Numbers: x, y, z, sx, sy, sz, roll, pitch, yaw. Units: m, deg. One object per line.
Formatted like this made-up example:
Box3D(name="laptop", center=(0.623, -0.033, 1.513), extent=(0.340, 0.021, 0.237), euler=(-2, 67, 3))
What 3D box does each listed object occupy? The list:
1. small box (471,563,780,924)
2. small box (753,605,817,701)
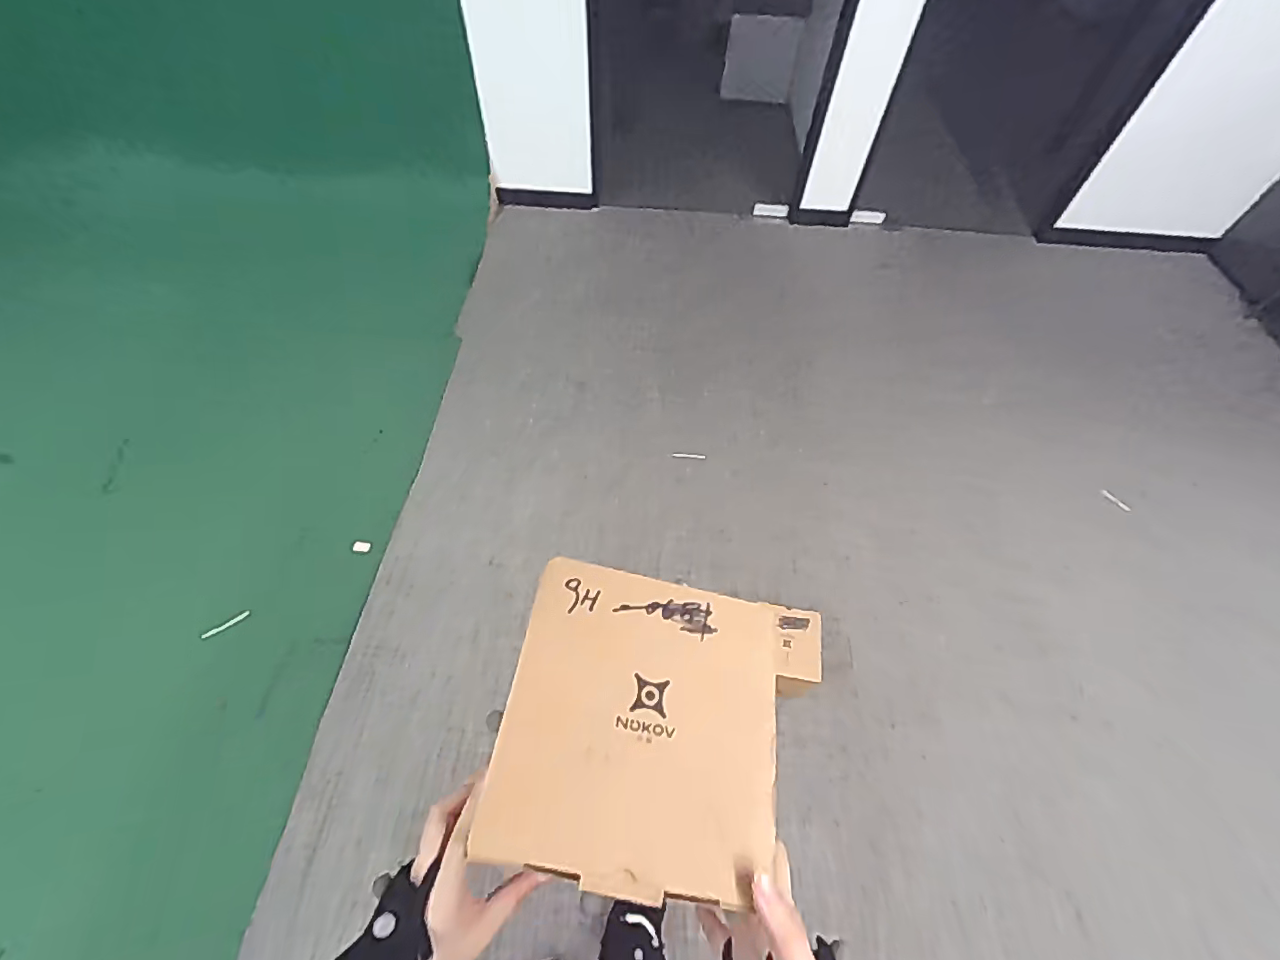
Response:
Box3D(name="small box", center=(-0.011, 0.189, 0.393), extent=(0.168, 0.176, 0.179), euler=(15, 54, -6))
Box3D(name="small box", center=(0.343, 0.445, 1.380), extent=(0.168, 0.176, 0.179), euler=(10, 57, 3))
